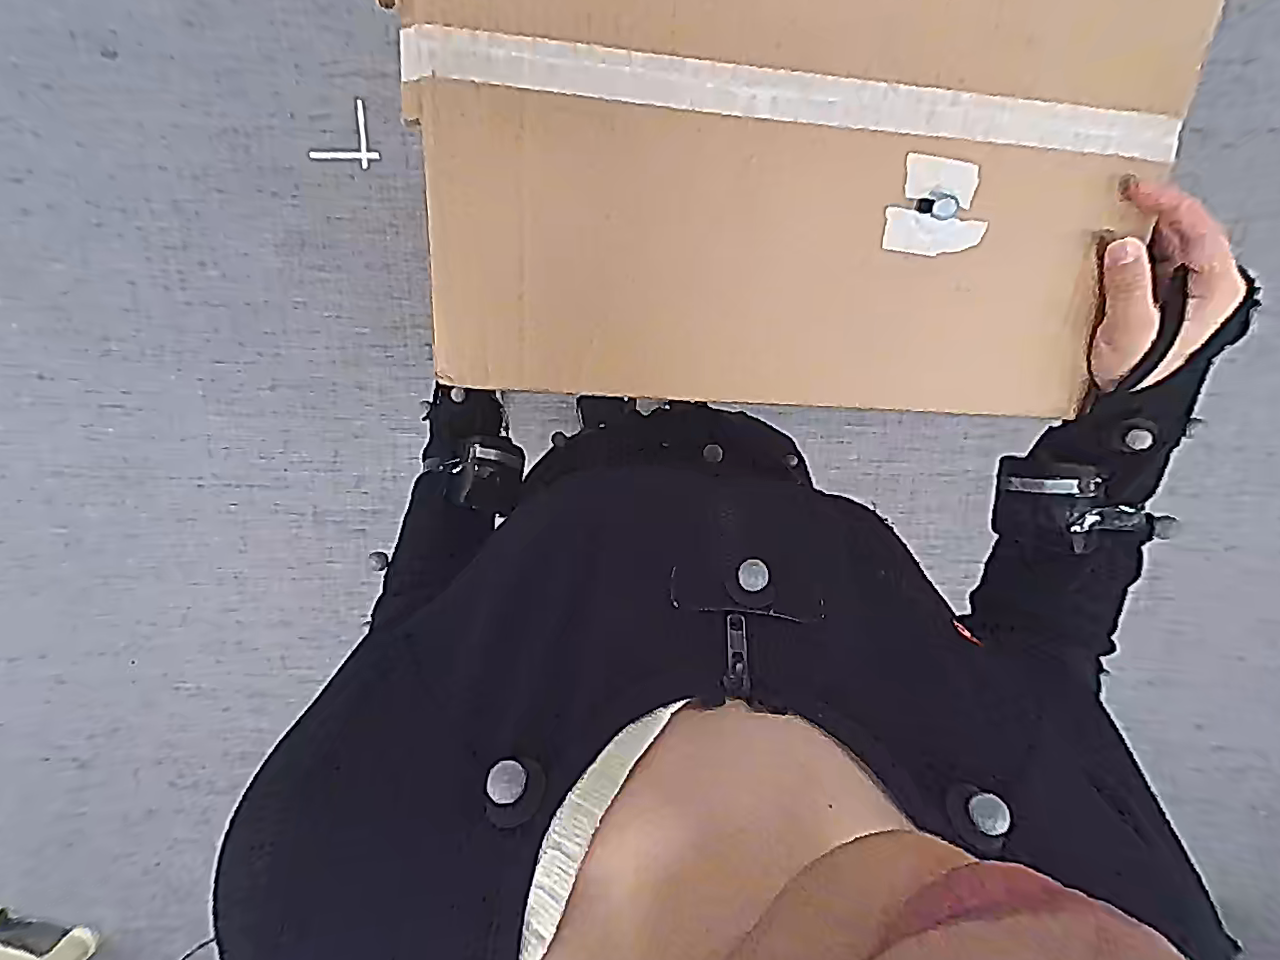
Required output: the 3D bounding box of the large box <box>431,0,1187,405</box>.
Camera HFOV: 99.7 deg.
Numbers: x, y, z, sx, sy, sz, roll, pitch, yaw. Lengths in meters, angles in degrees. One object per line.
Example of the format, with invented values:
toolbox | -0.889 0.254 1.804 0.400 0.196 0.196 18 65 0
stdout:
large box | 0.076 -0.242 0.430 0.408 0.320 0.320 1 108 -8
